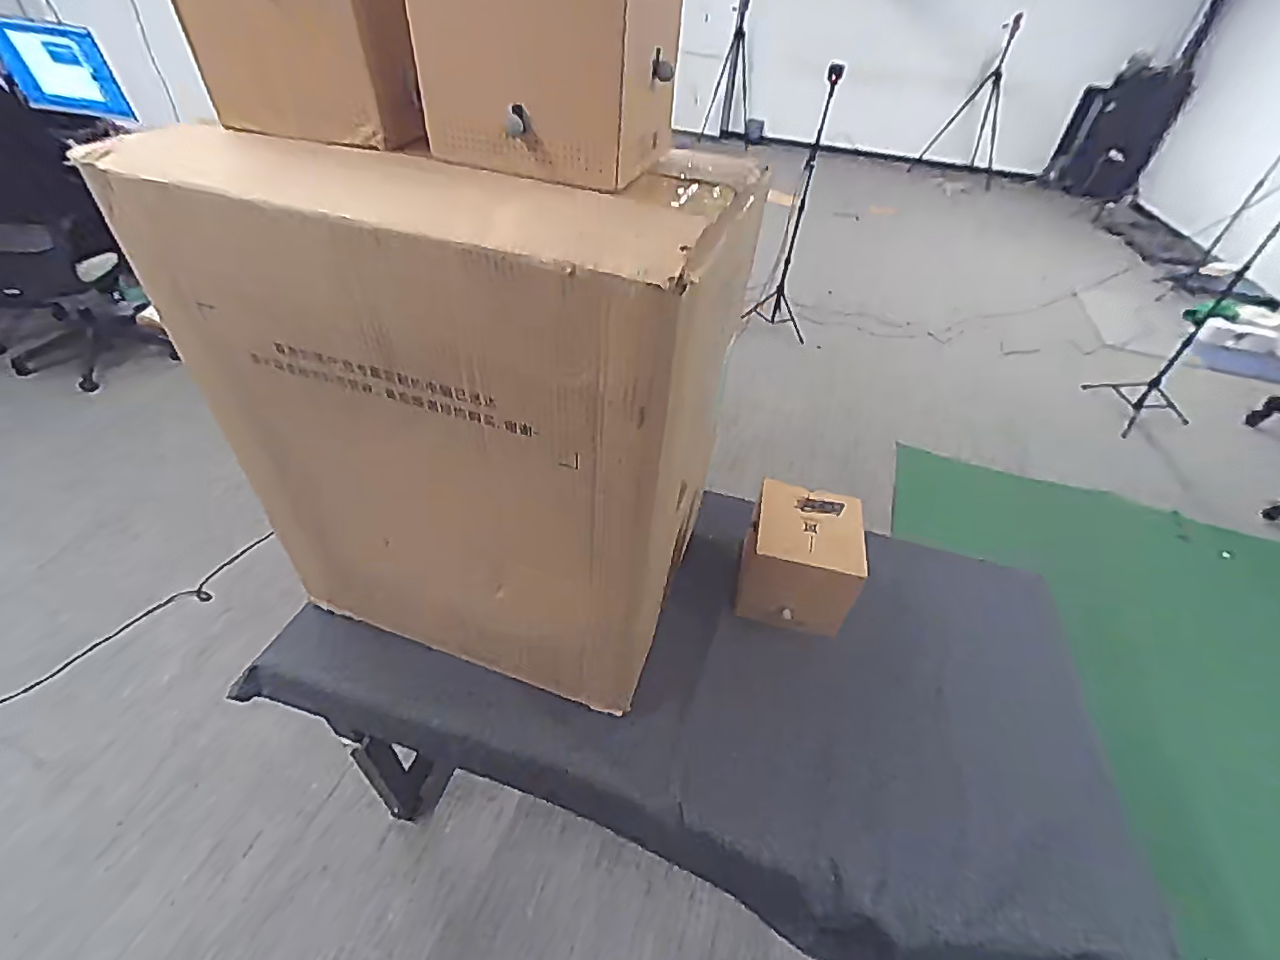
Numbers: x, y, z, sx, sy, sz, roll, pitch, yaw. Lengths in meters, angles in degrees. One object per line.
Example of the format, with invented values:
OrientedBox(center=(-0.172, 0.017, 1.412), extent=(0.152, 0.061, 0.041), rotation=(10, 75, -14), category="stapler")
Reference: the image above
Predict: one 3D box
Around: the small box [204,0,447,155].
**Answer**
OrientedBox(center=(-0.272, -0.422, 0.505), extent=(0.179, 0.176, 0.168), rotation=(14, 45, 8), category="small box")

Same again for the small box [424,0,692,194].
OrientedBox(center=(-0.059, -0.365, 0.469), extent=(0.179, 0.176, 0.168), rotation=(16, 44, 9), category="small box")
